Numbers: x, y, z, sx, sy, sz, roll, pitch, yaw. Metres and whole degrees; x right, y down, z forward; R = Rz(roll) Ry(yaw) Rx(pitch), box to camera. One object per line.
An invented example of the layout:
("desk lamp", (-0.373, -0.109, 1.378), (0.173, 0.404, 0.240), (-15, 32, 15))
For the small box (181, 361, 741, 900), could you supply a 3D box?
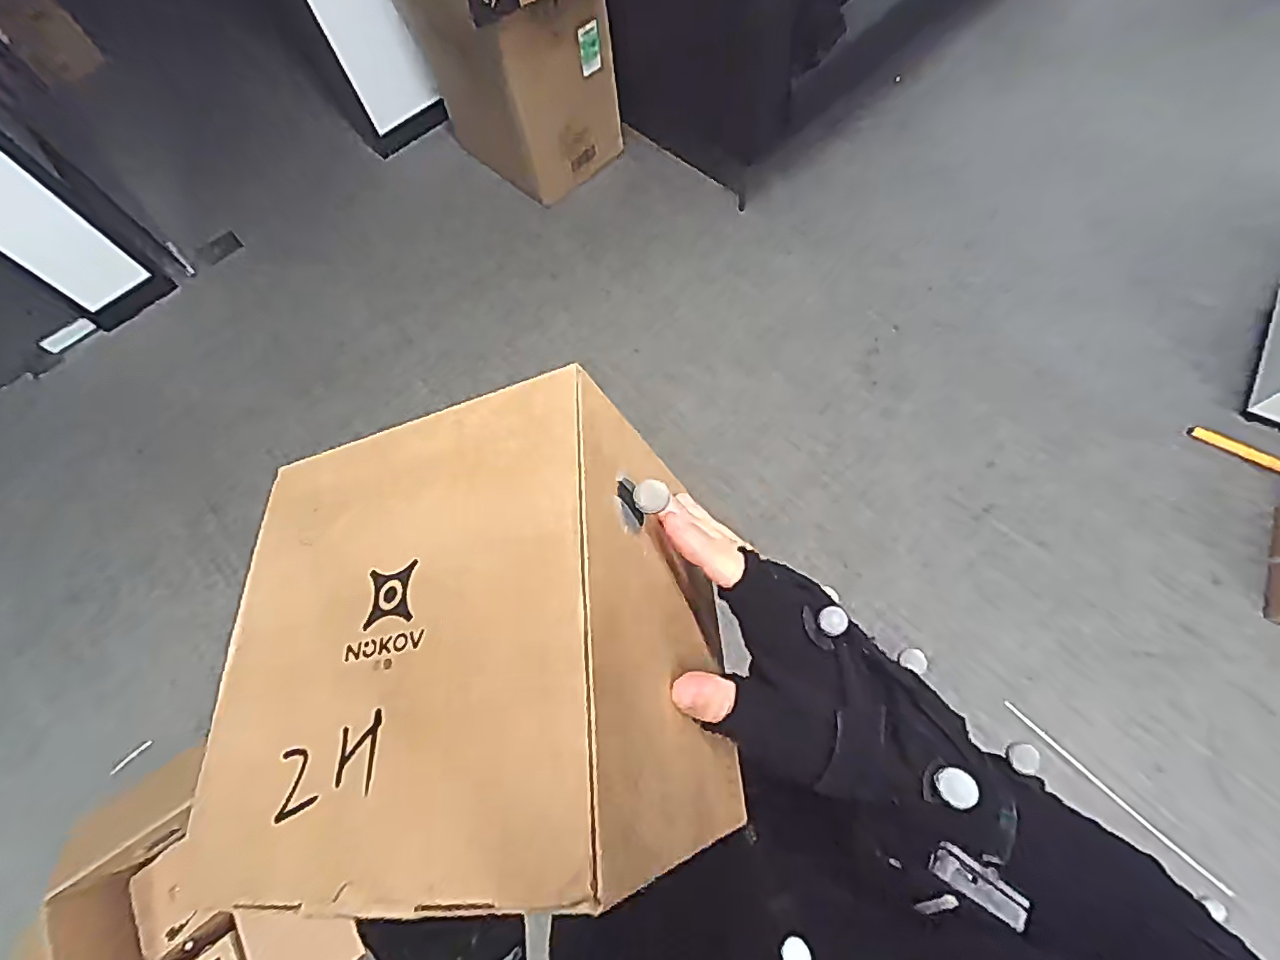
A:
("small box", (-0.058, 0.078, 0.265), (0.168, 0.176, 0.179), (-15, 62, 18))
